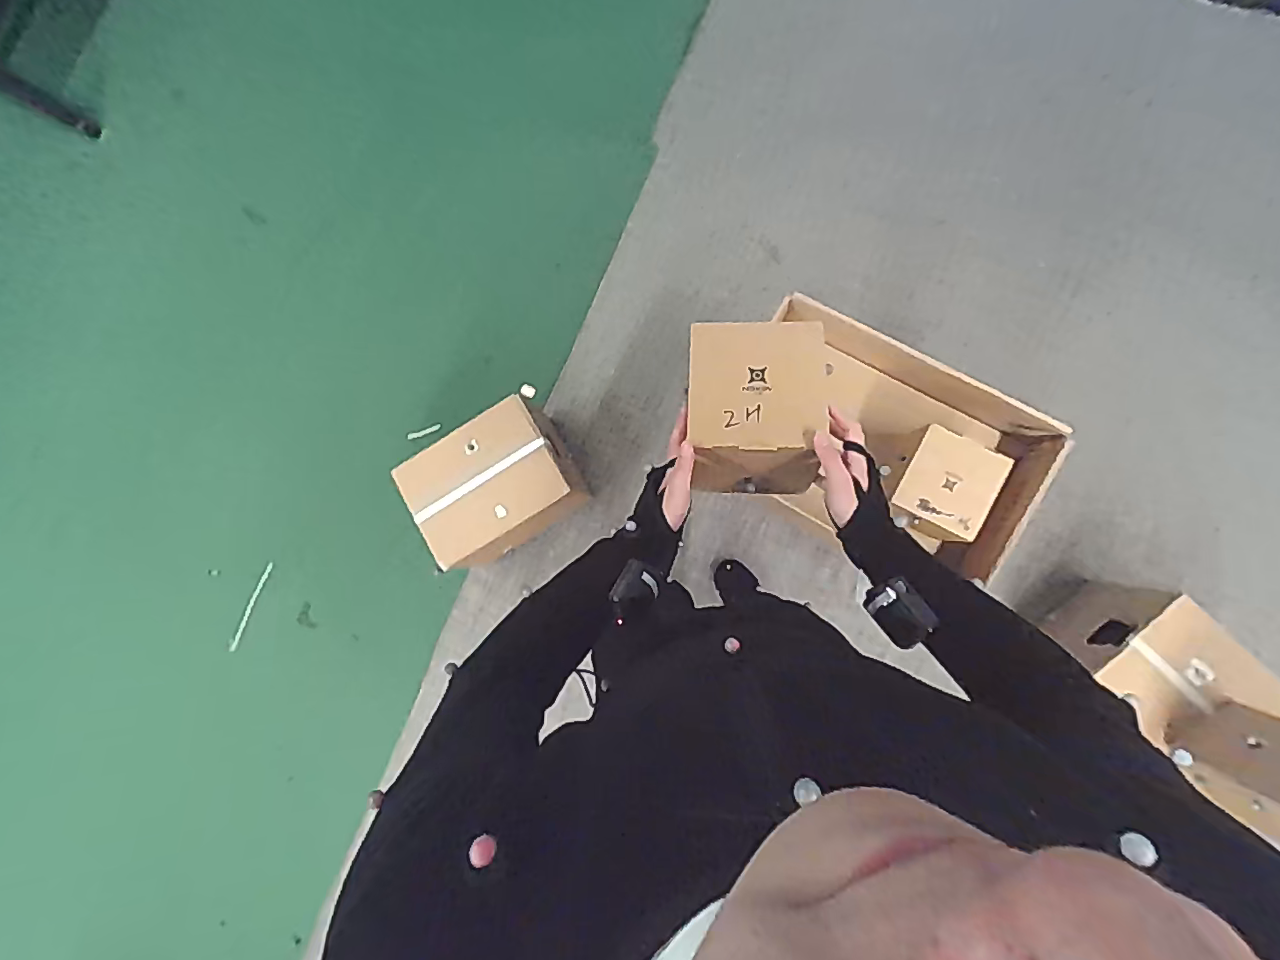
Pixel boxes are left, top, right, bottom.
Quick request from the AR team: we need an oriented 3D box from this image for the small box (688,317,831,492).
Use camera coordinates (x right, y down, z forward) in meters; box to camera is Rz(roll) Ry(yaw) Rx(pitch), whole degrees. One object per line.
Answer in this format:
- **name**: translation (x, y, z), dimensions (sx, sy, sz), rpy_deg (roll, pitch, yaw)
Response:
- **small box**: translation (0.150, -0.095, 0.722), dimensions (0.168, 0.176, 0.179), rpy_deg (1, 70, 8)

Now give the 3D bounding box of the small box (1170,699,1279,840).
- **small box**: translation (1.248, 0.574, 1.082), dimensions (0.179, 0.176, 0.168), rpy_deg (-37, 82, 5)

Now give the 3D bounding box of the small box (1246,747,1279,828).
- **small box**: translation (1.219, 0.564, 0.921), dimensions (0.179, 0.176, 0.168), rpy_deg (-37, 81, 3)
